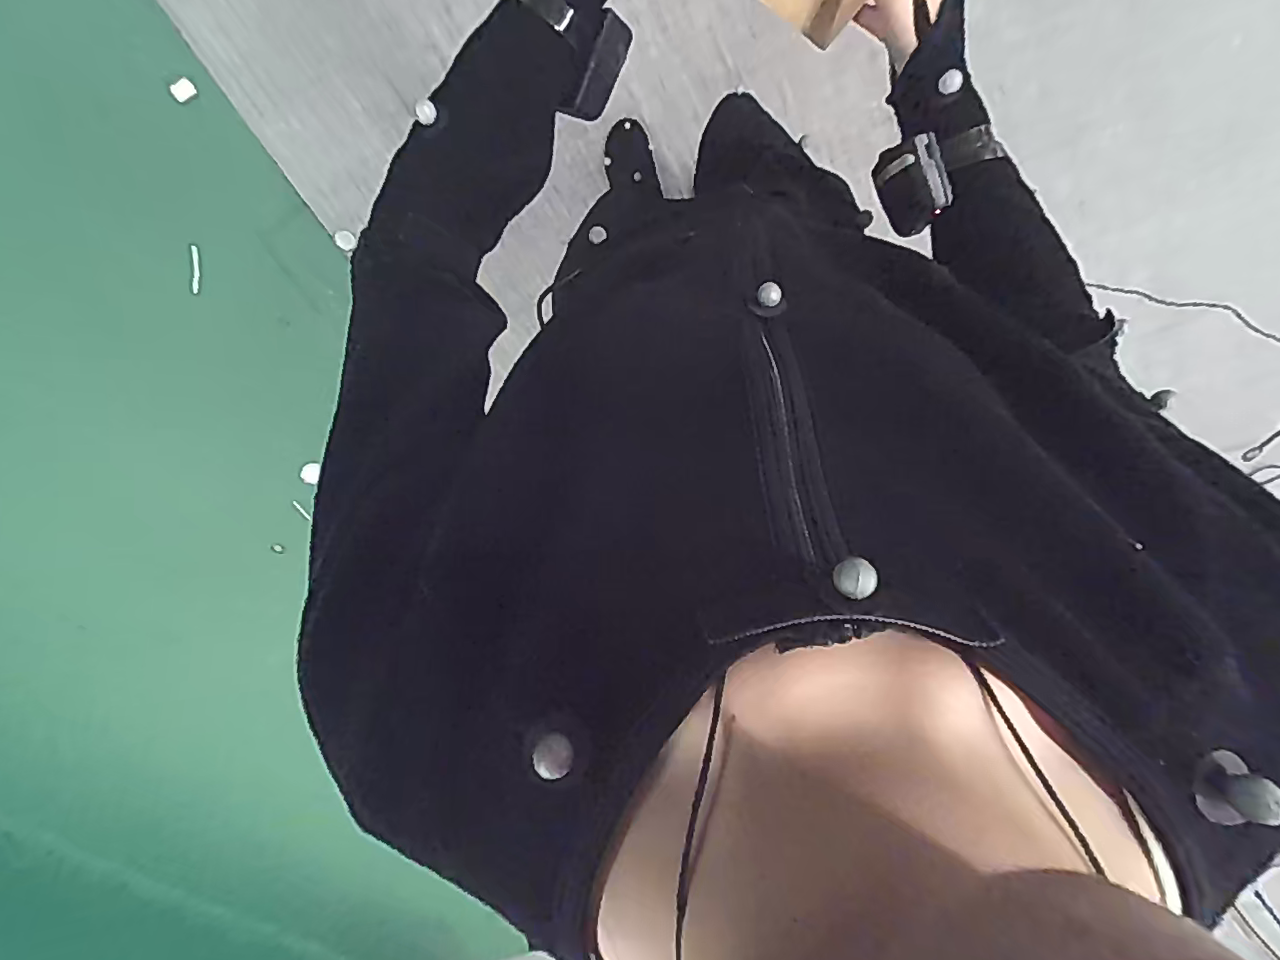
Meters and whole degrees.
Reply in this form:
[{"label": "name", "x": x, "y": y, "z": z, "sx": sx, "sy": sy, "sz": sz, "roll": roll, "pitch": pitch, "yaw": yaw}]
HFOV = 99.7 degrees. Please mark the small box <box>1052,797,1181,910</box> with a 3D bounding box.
[{"label": "small box", "x": 1.181, "y": 0.925, "z": 1.347, "sx": 0.179, "sy": 0.176, "sz": 0.168, "roll": -27, "pitch": 118, "yaw": 14}]
